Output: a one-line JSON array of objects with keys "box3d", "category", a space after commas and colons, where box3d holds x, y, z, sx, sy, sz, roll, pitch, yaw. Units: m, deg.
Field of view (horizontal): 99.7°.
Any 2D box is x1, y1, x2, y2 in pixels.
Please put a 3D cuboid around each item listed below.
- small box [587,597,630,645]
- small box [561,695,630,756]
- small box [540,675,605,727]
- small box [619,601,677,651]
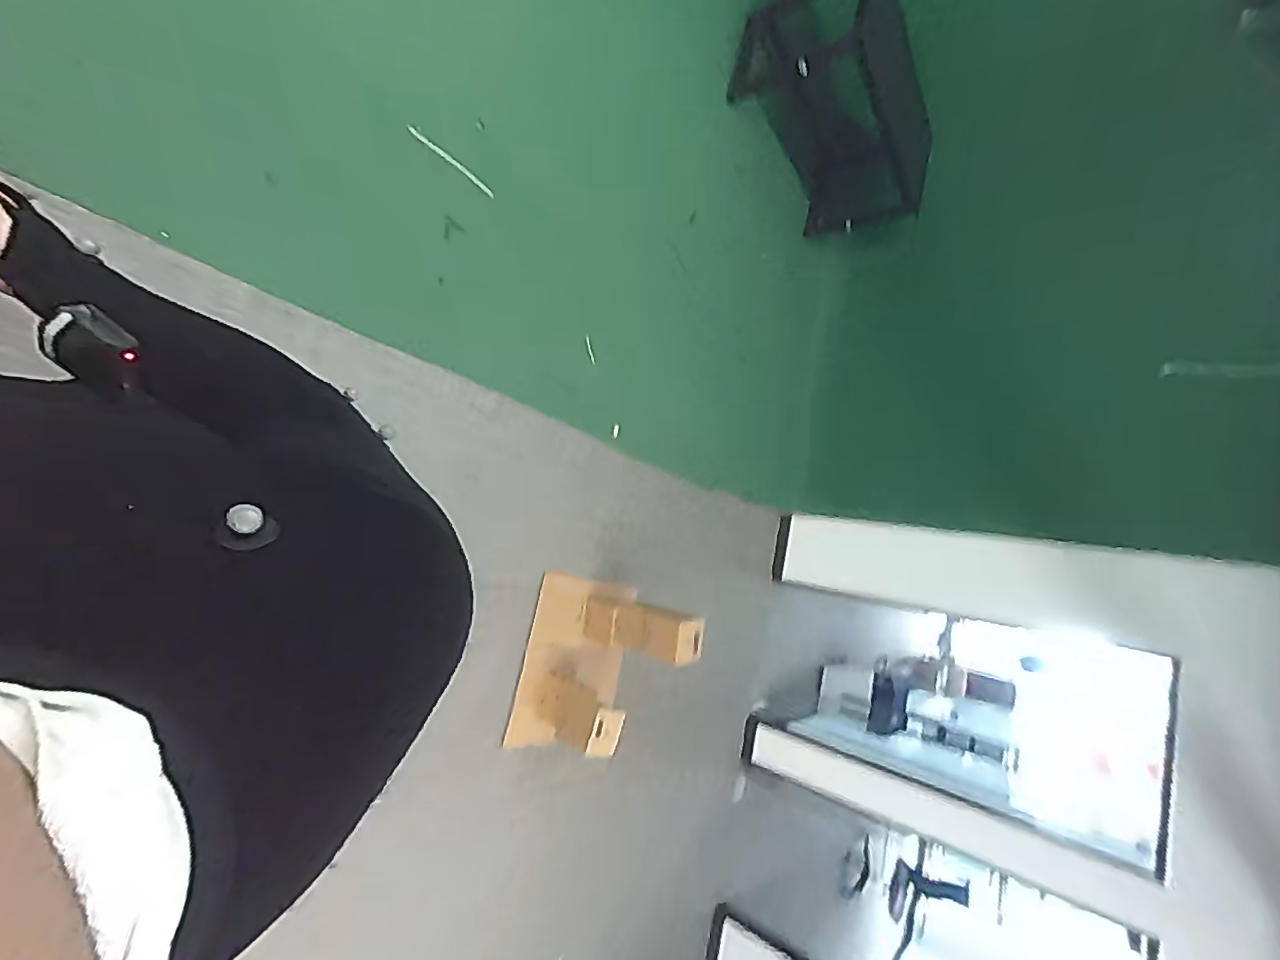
[{"box3d": [-0.108, 0.614, 2.371, 0.179, 0.176, 0.168, 10, 86, -50], "category": "small box"}, {"box3d": [-0.174, 0.937, 2.068, 0.179, 0.176, 0.168, 35, 68, -47], "category": "small box"}, {"box3d": [-0.277, 0.904, 2.199, 0.179, 0.176, 0.168, 29, 72, -49], "category": "small box"}, {"box3d": [0.031, 0.609, 2.280, 0.179, 0.176, 0.168, 12, 86, -51], "category": "small box"}]
